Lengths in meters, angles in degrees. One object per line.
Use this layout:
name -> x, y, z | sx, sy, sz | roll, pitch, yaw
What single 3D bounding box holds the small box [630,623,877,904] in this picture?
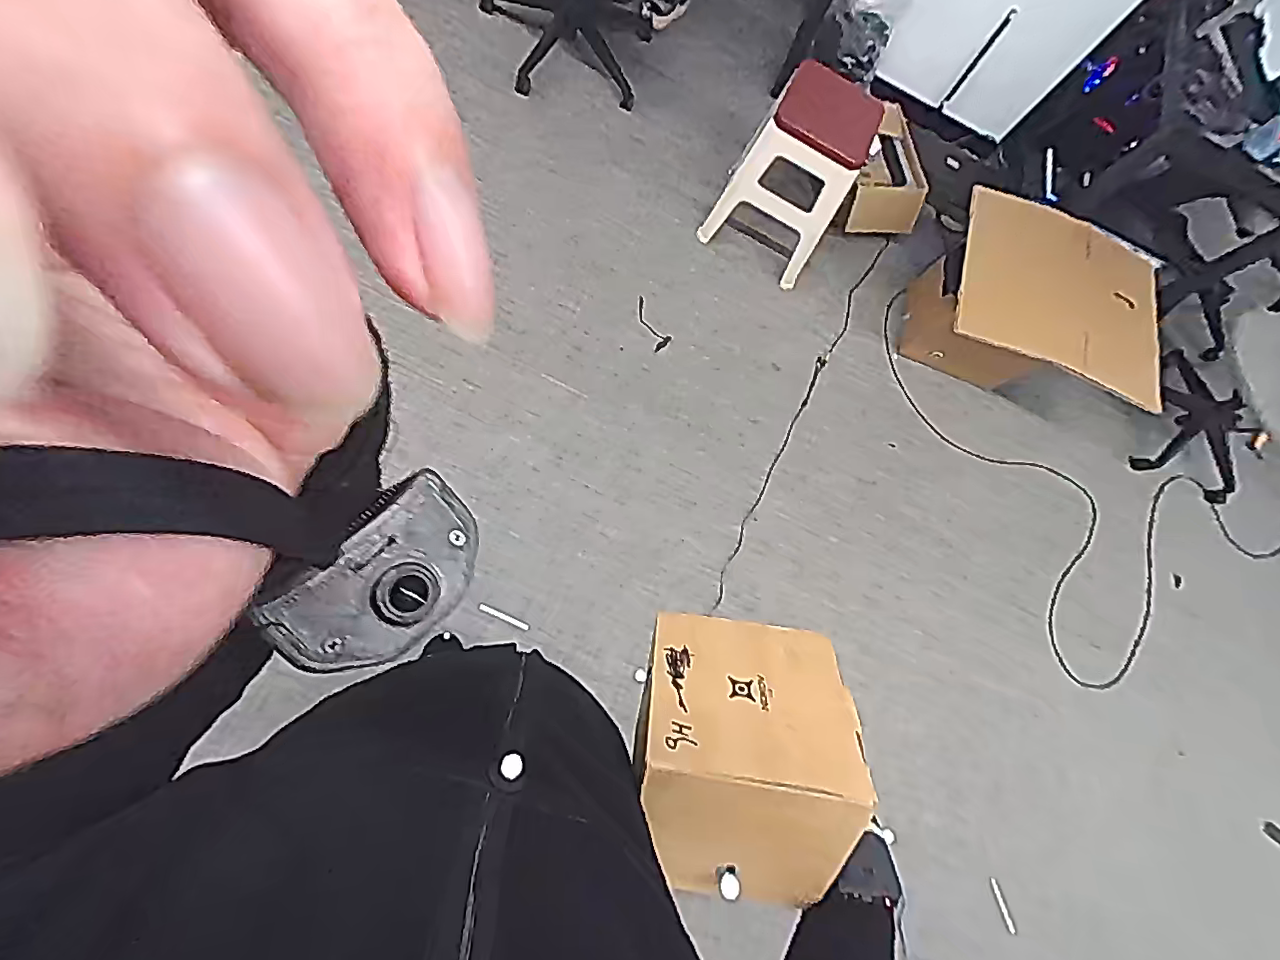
small box -> 0.093, 0.269, 0.520 | 0.179, 0.176, 0.168 | 9, 29, 1
